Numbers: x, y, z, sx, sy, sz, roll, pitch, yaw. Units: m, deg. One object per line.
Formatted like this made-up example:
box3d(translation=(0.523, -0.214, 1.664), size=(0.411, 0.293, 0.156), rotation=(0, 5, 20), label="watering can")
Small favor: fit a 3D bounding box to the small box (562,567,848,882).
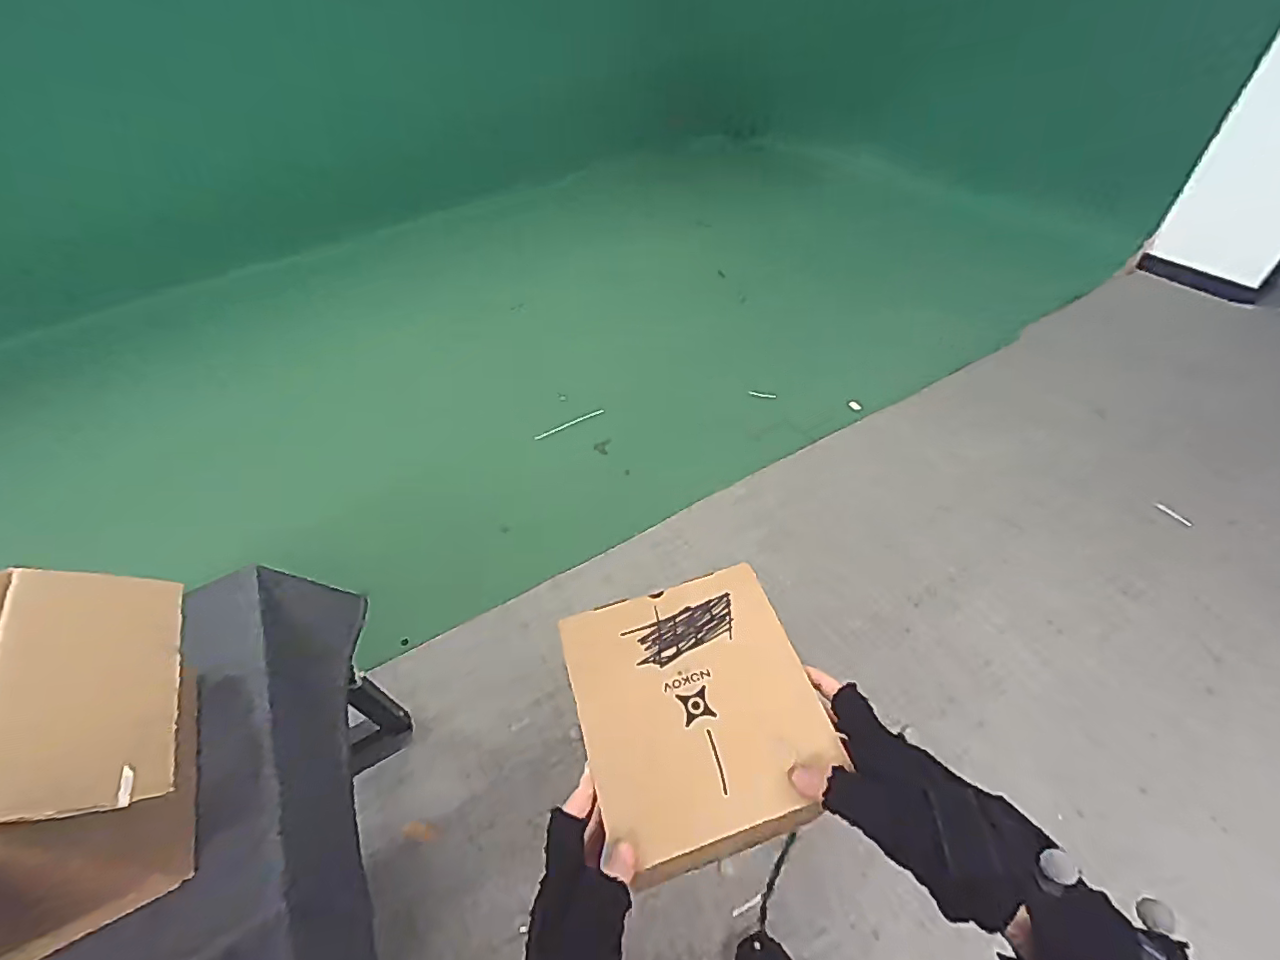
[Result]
box3d(translation=(0.038, 0.205, 0.454), size=(0.168, 0.176, 0.179), rotation=(-14, 51, -9), label="small box")
